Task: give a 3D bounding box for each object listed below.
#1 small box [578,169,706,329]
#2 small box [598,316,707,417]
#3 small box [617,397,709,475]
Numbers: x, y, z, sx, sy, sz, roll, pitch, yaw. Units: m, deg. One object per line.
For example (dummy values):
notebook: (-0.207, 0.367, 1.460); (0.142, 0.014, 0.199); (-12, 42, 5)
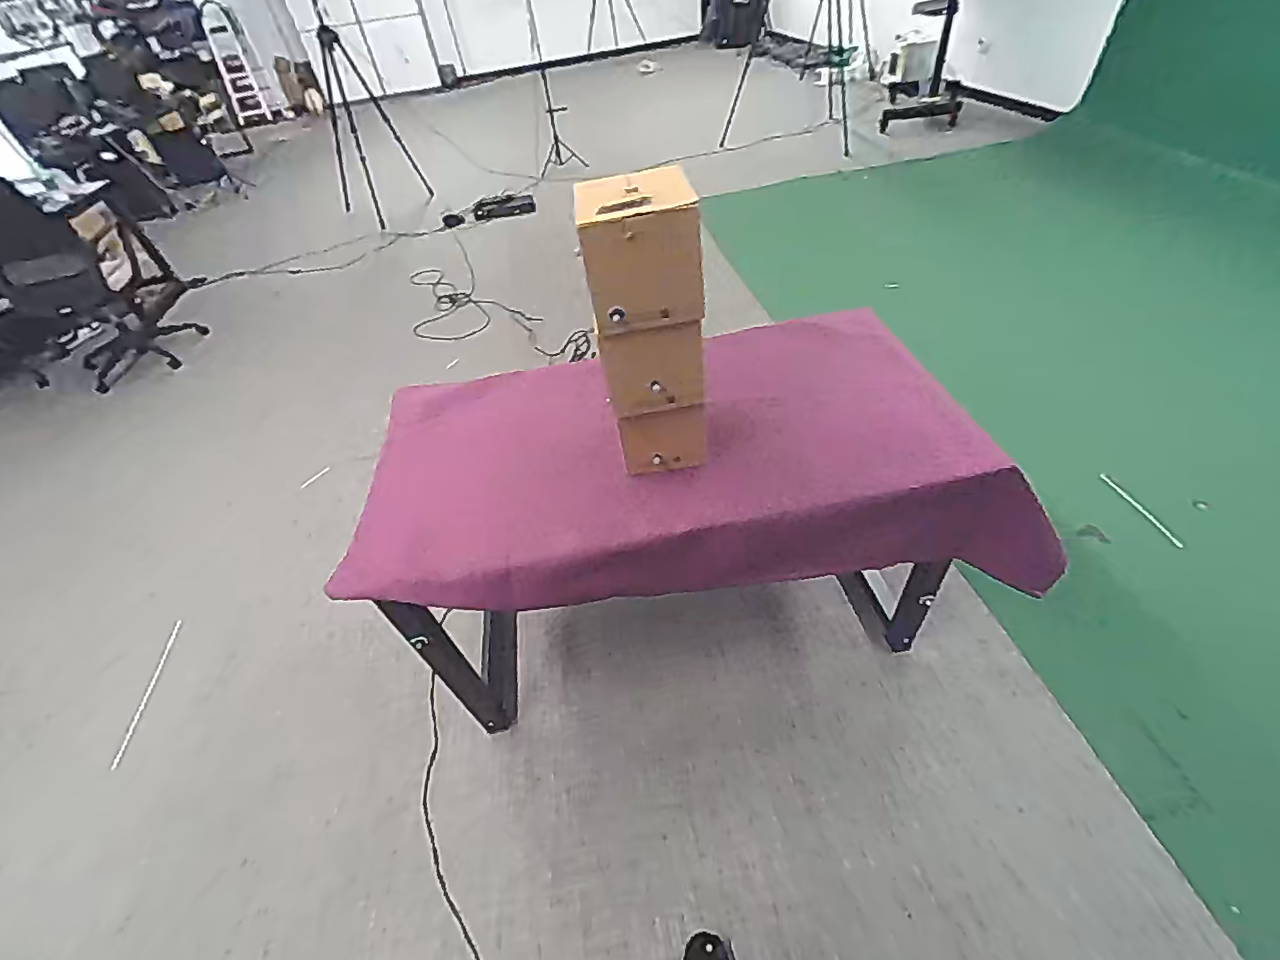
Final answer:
small box: (0.004, -0.345, 0.825); (0.168, 0.176, 0.179); (-9, 44, 1)
small box: (0.019, -0.236, 0.947); (0.168, 0.176, 0.179); (-10, 45, 1)
small box: (0.042, -0.134, 1.074); (0.168, 0.176, 0.179); (-9, 45, 2)
